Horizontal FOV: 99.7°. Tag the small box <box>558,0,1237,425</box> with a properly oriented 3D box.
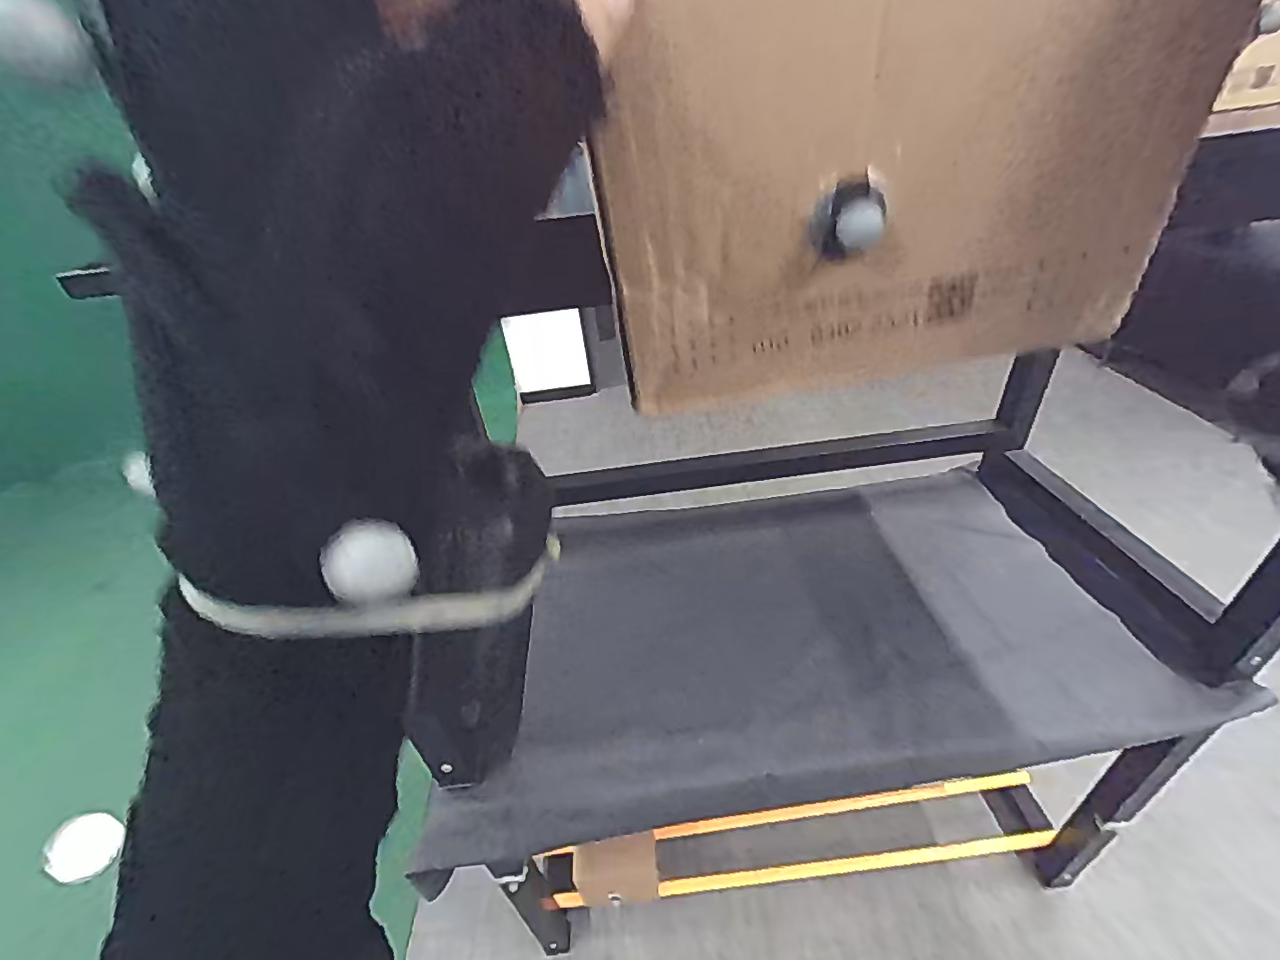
[{"bbox_3d":[0.059,-0.144,0.205,0.168,0.176,0.179,-10,41,1],"label":"small box"}]

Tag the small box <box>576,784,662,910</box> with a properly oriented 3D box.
[{"bbox_3d":[-0.045,0.808,1.194,0.168,0.176,0.179,-8,37,0],"label":"small box"}]
